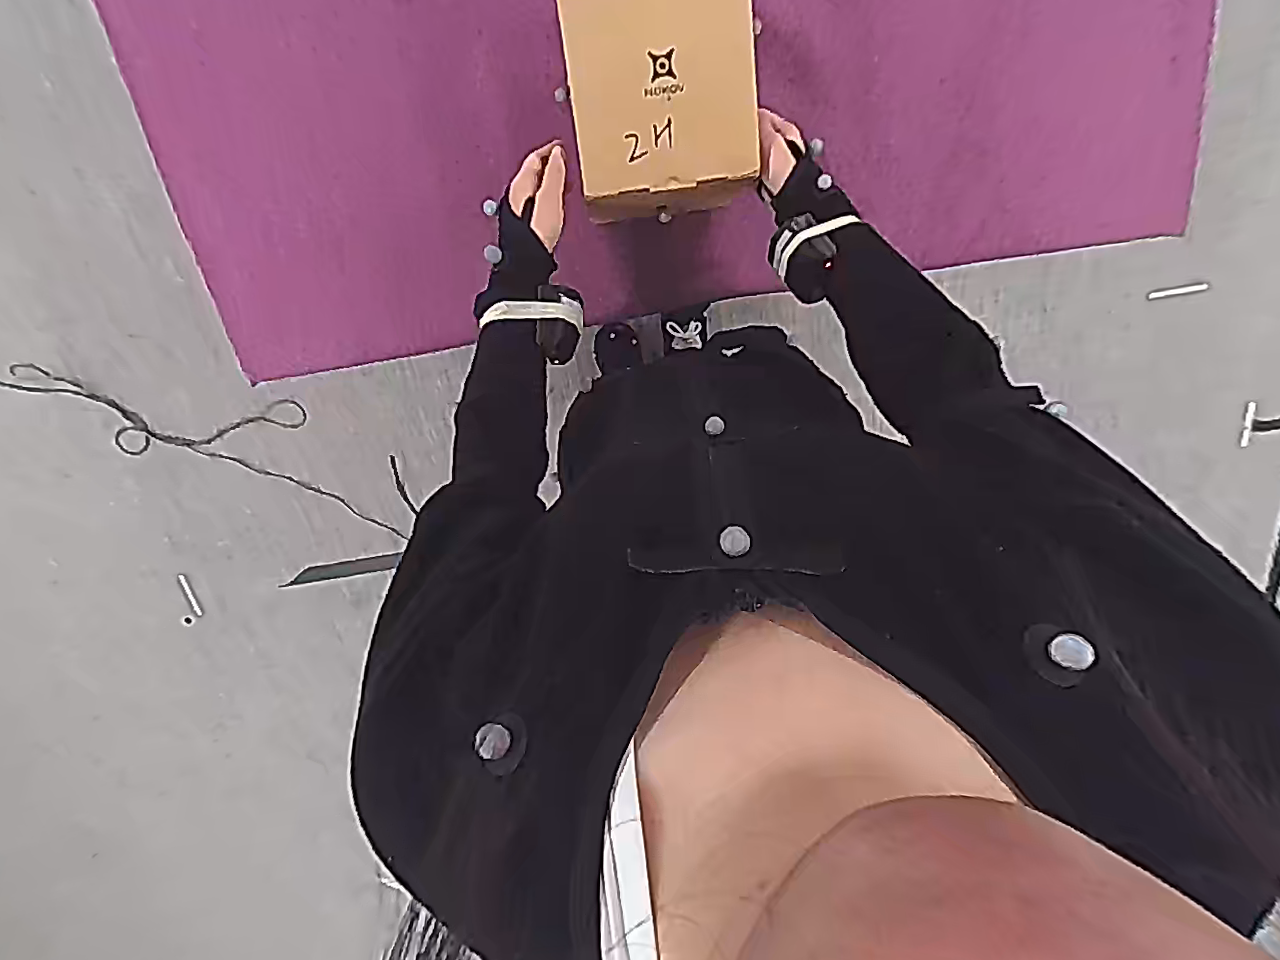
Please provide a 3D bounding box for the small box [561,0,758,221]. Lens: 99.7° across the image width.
[{"bbox_3d":[0.016,-0.380,0.553,0.168,0.176,0.179,-7,108,1],"label":"small box"}]
